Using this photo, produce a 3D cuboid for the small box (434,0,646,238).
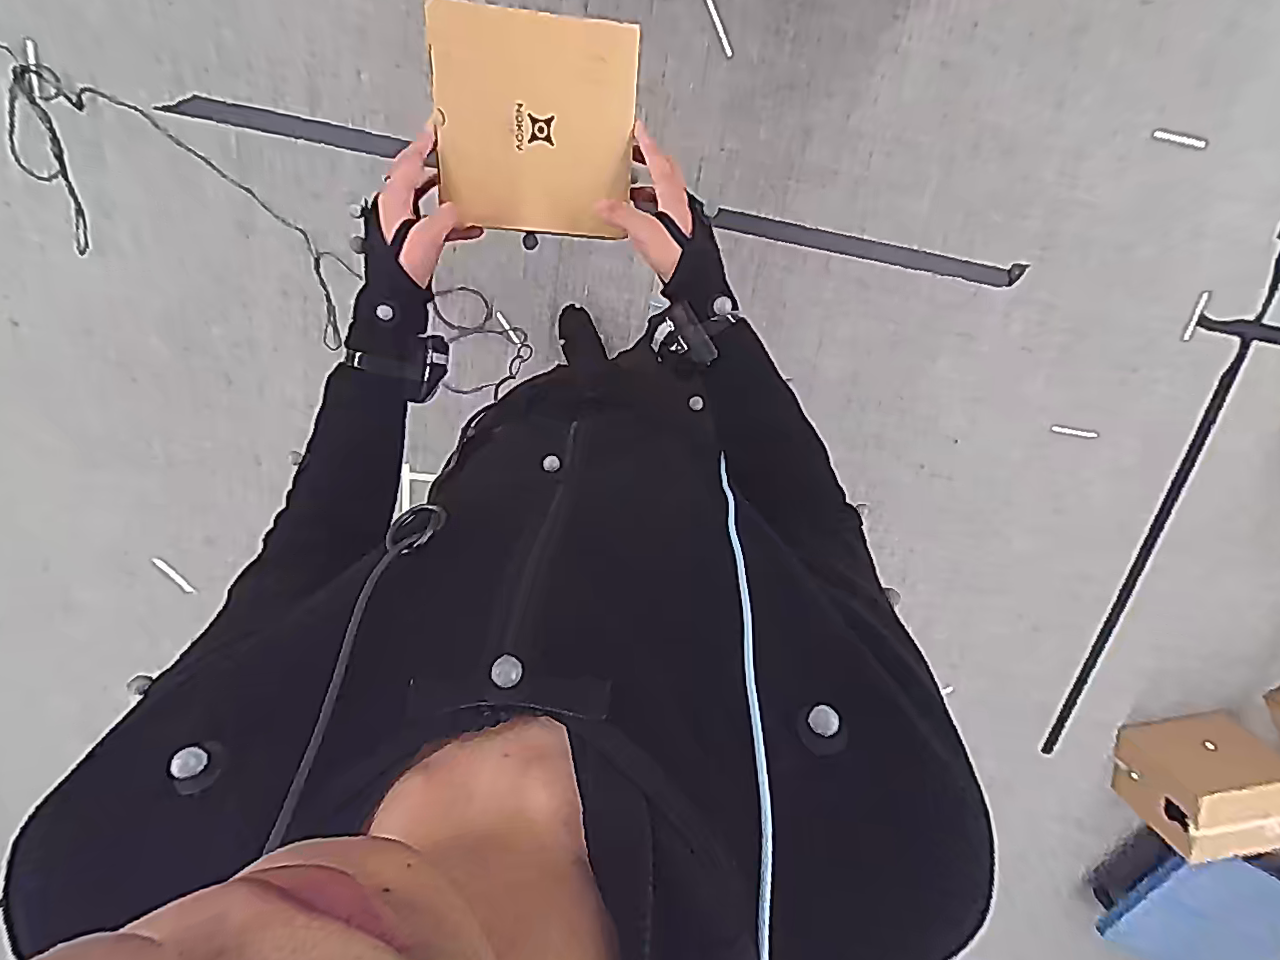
[{"bbox_3d":[-0.095,-0.345,0.548,0.179,0.176,0.168,2,115,-7],"label":"small box"}]
